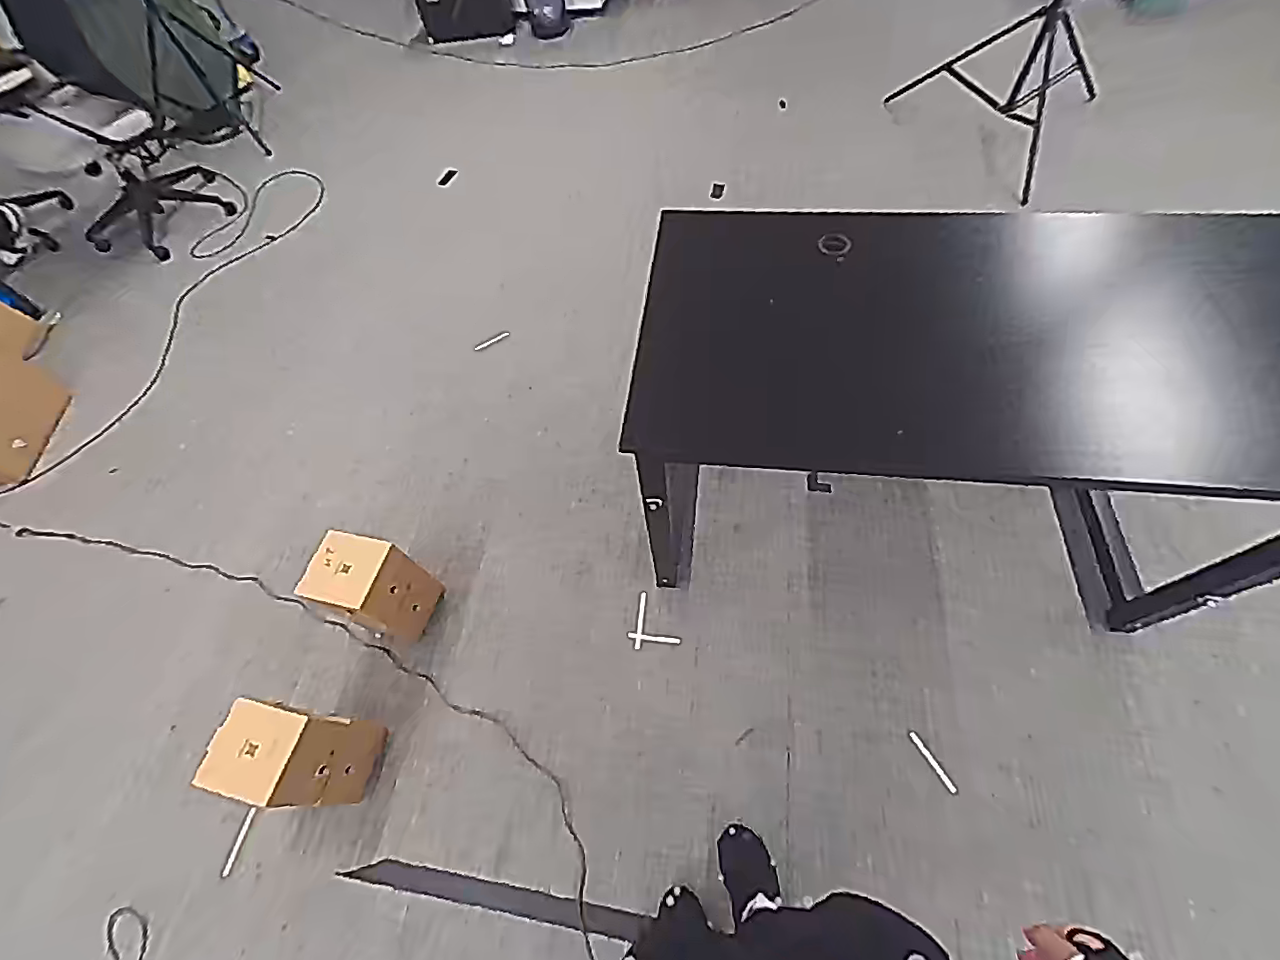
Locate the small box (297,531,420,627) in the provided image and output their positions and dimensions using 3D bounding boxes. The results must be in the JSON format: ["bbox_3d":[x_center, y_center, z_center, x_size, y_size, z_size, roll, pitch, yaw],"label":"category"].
[{"bbox_3d":[-0.673,0.246,1.318,0.179,0.176,0.168,9,60,11],"label":"small box"}]

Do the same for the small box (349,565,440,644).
[{"bbox_3d":[-0.668,0.322,1.465,0.168,0.176,0.179,12,63,12],"label":"small box"}]

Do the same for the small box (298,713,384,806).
[{"bbox_3d":[-0.744,0.657,1.283,0.168,0.176,0.179,5,62,8],"label":"small box"}]

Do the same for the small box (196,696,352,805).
[{"bbox_3d":[-0.760,0.572,1.143,0.179,0.176,0.168,10,63,10],"label":"small box"}]
